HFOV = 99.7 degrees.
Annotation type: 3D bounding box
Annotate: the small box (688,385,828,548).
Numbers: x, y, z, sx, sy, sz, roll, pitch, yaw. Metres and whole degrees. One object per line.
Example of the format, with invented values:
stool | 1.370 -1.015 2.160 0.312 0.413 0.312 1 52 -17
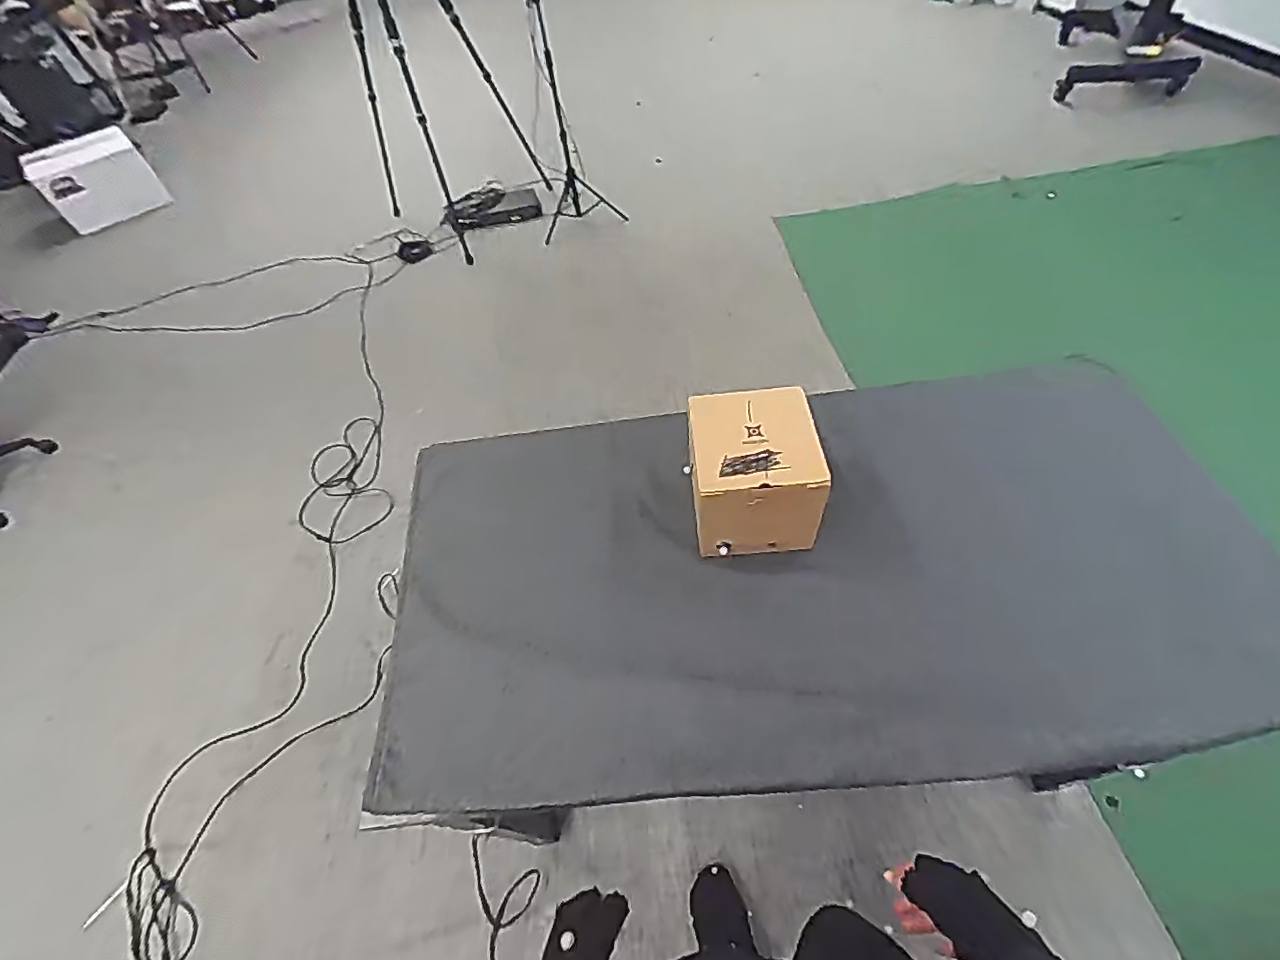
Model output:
small box | 0.160 -0.011 0.787 0.168 0.176 0.179 -5 53 3
